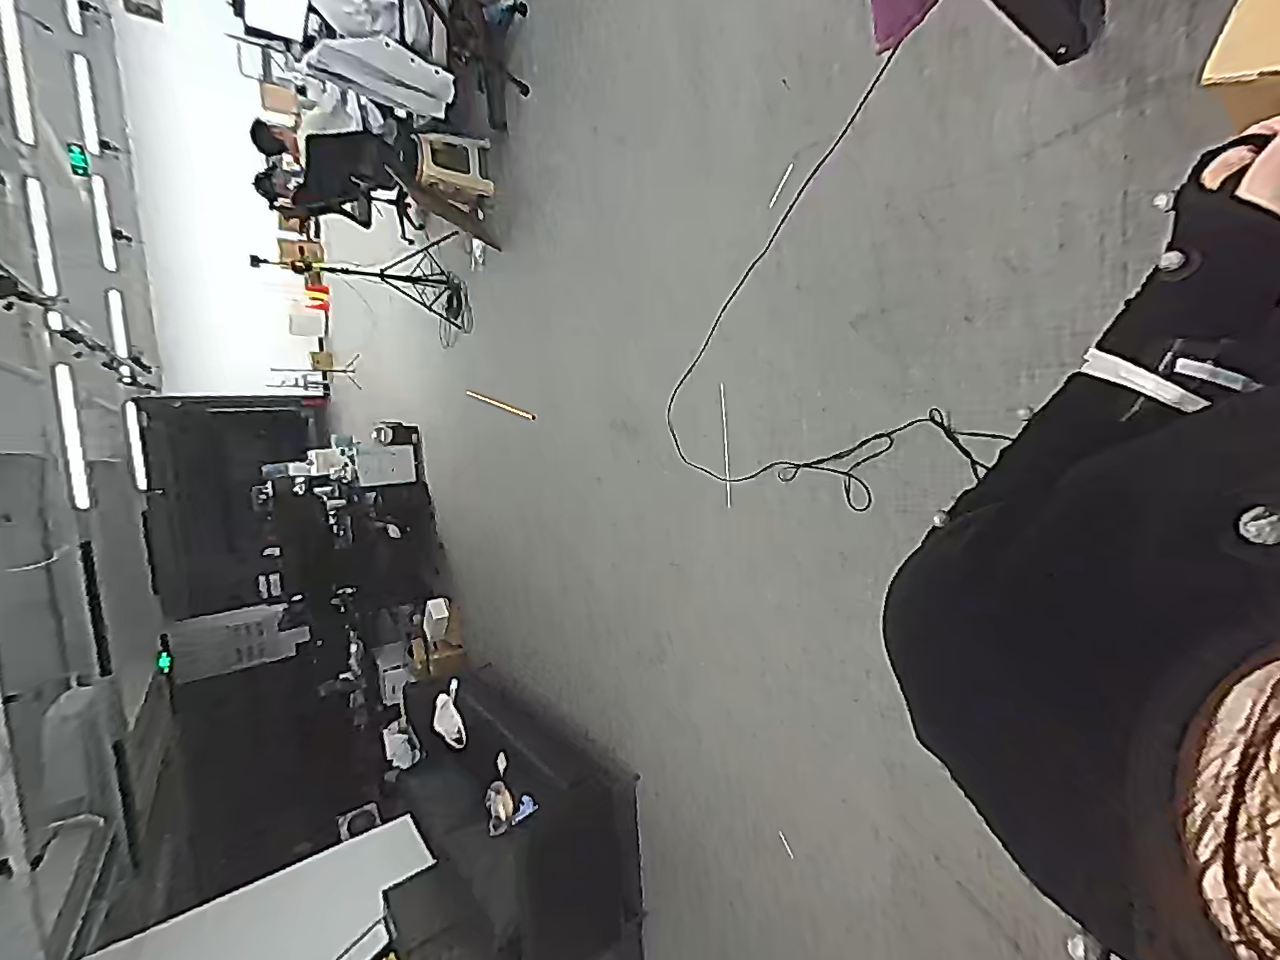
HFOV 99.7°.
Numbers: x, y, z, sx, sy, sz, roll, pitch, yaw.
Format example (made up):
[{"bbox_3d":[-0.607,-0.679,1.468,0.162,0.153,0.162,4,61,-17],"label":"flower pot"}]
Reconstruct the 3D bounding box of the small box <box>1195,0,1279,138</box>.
[{"bbox_3d":[0.517,-0.327,0.331,0.168,0.176,0.179,42,125,50],"label":"small box"}]
